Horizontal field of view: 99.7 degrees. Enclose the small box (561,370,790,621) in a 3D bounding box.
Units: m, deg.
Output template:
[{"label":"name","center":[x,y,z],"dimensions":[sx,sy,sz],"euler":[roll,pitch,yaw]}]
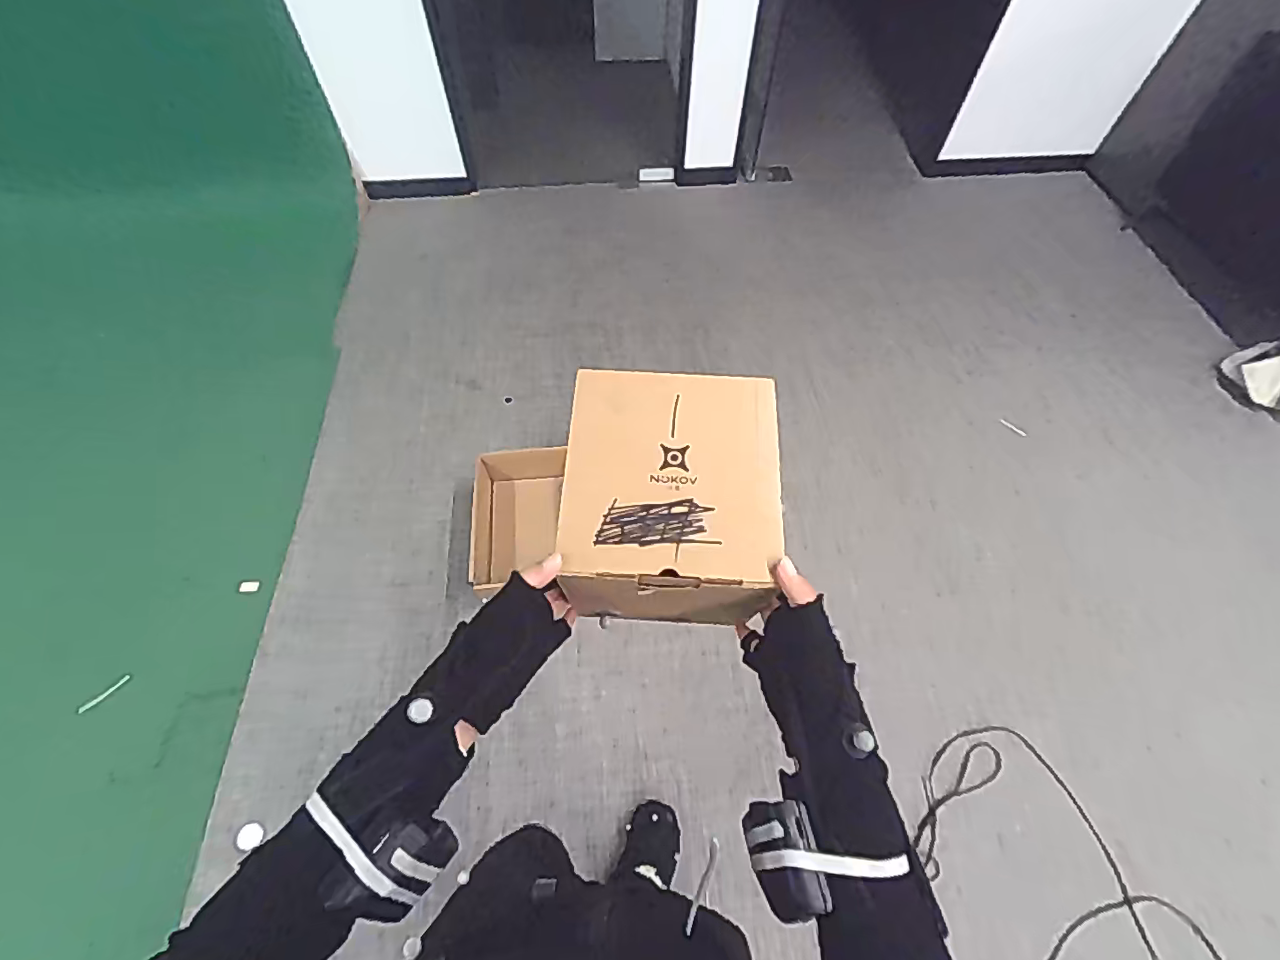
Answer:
[{"label":"small box","center":[0.029,0.024,0.485],"dimensions":[0.168,0.176,0.179],"euler":[3,65,0]}]
